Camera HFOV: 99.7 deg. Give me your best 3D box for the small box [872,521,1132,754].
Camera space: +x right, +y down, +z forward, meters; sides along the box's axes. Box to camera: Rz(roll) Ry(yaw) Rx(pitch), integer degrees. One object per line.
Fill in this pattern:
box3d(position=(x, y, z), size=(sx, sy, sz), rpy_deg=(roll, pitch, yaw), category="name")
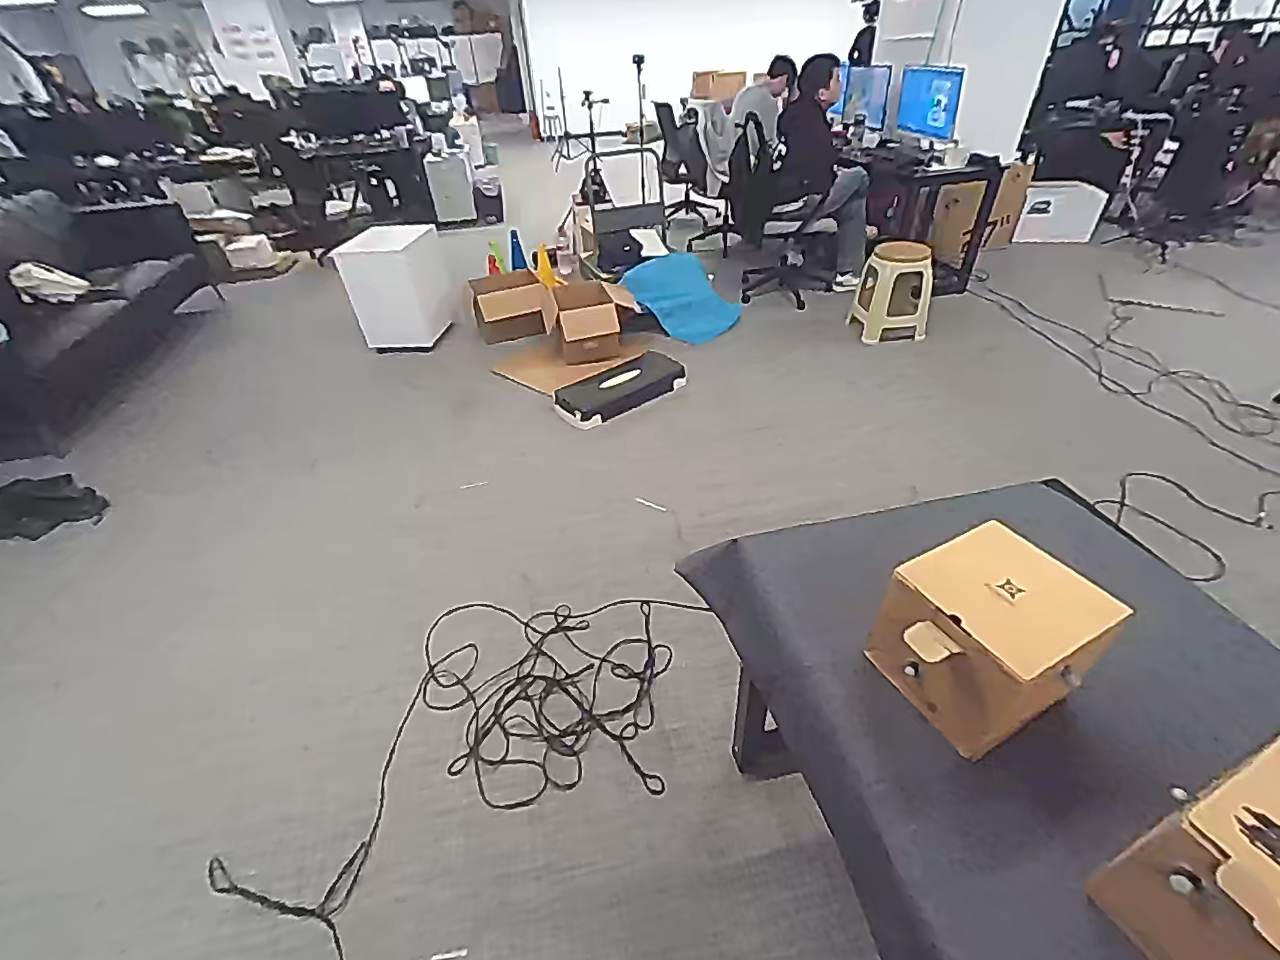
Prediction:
box3d(position=(0.410, 0.185, 0.647), size=(0.179, 0.176, 0.168), rpy_deg=(-20, 42, -19), category="small box")
